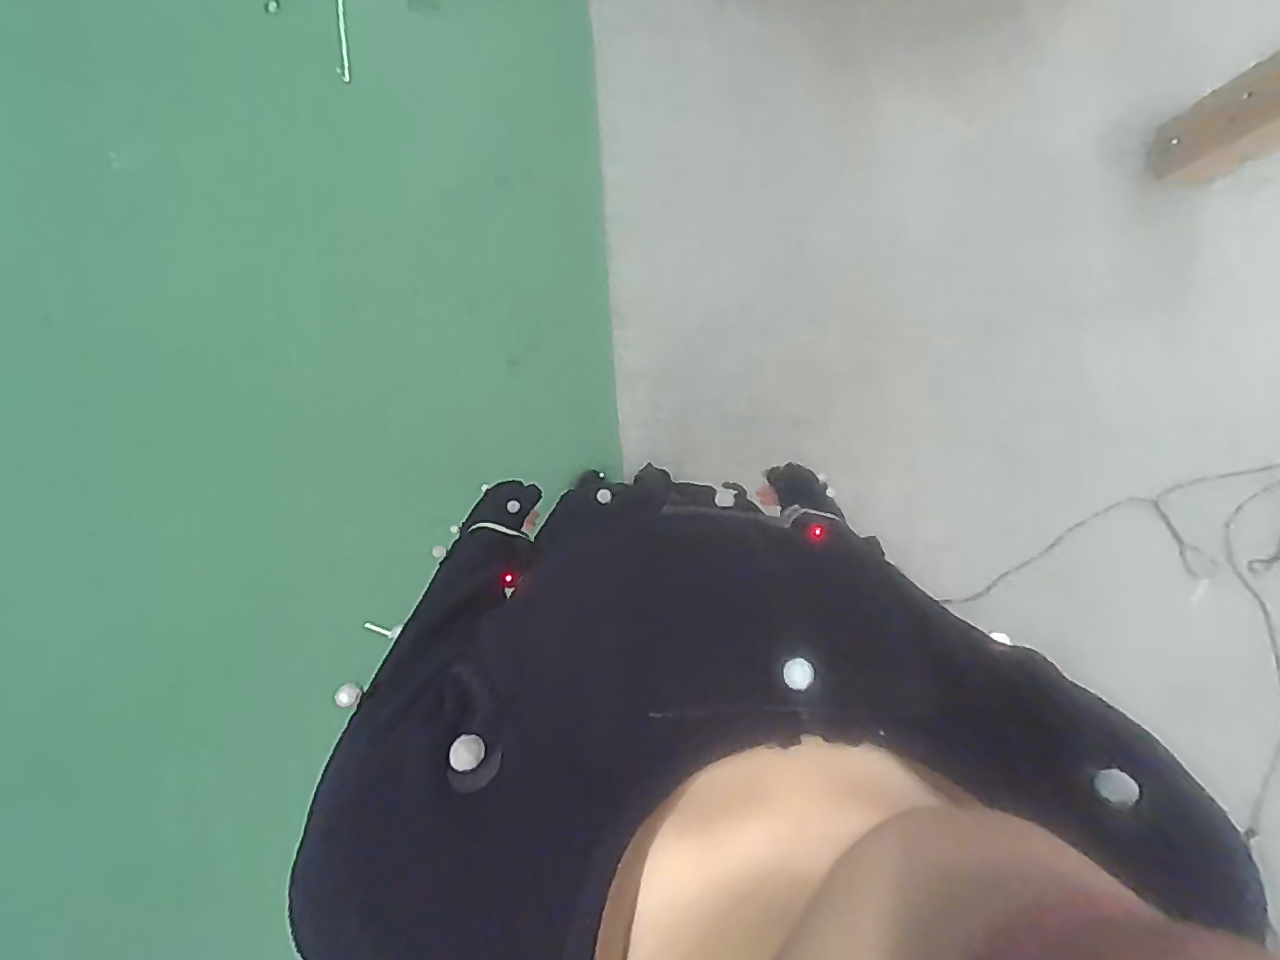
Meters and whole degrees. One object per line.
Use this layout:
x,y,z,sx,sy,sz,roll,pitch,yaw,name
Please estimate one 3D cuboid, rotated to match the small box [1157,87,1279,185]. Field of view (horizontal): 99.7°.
1.600,-0.945,1.499,0.179,0.176,0.168,1,90,-3,small box
